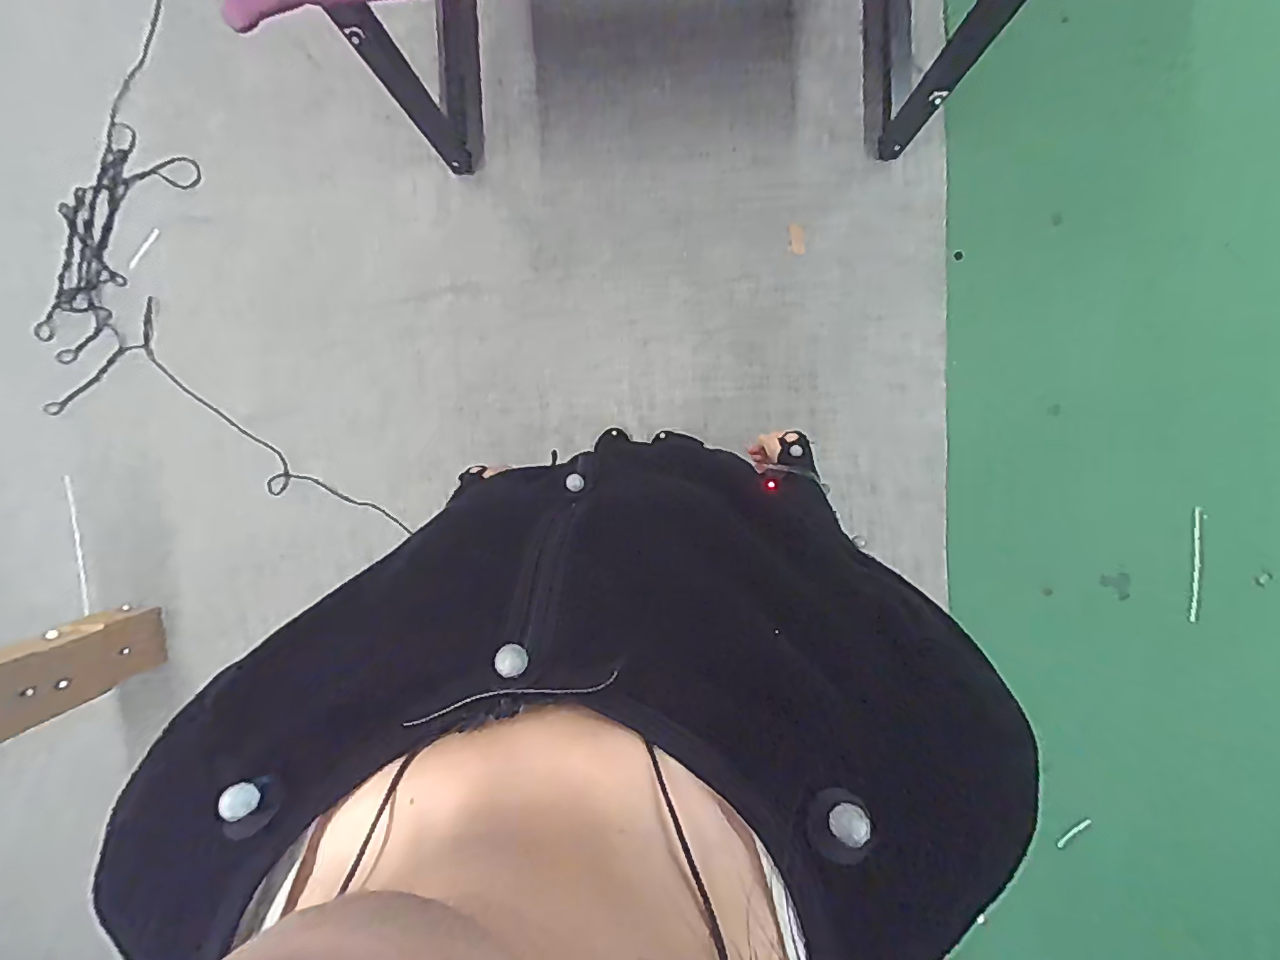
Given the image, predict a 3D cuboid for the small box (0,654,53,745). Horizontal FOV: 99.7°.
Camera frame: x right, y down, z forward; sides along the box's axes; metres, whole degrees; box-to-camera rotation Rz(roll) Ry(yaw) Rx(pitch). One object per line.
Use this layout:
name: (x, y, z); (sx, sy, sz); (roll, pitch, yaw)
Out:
small box: (-1.494, 0.503, 1.214); (0.168, 0.176, 0.179); (-5, 94, 3)

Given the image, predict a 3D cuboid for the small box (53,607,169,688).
small box: (-1.493, 0.474, 1.539); (0.168, 0.176, 0.179); (-4, 94, 3)

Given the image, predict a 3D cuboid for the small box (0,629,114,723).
small box: (-1.501, 0.496, 1.377); (0.168, 0.176, 0.179); (-3, 94, 2)
